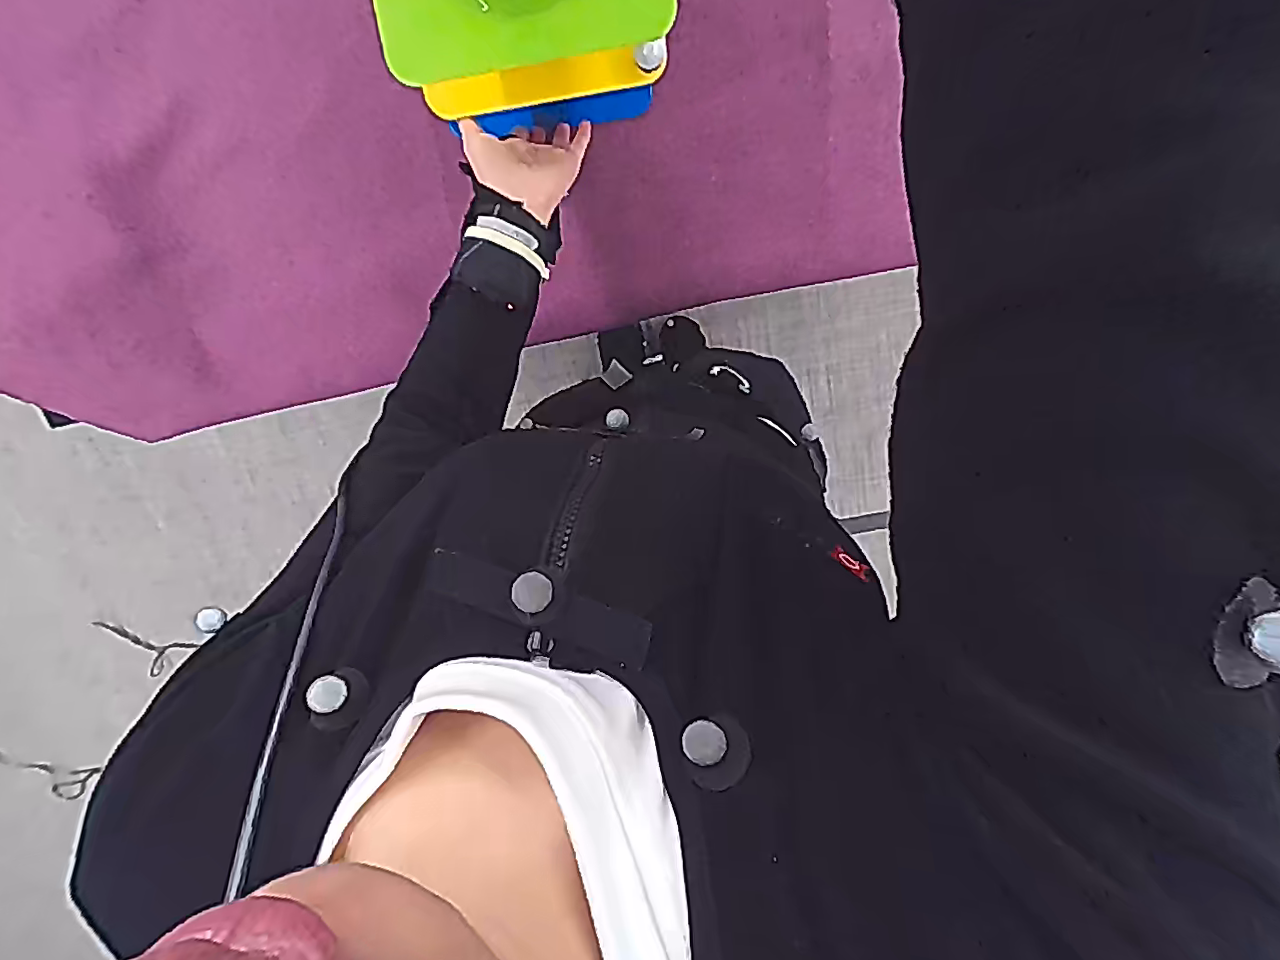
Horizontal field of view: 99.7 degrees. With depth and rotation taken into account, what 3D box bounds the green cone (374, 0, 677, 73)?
[{"bbox_3d":[-0.092,-0.341,0.167,0.200,0.368,0.202,-8,102,5],"label":"green cone"}]
